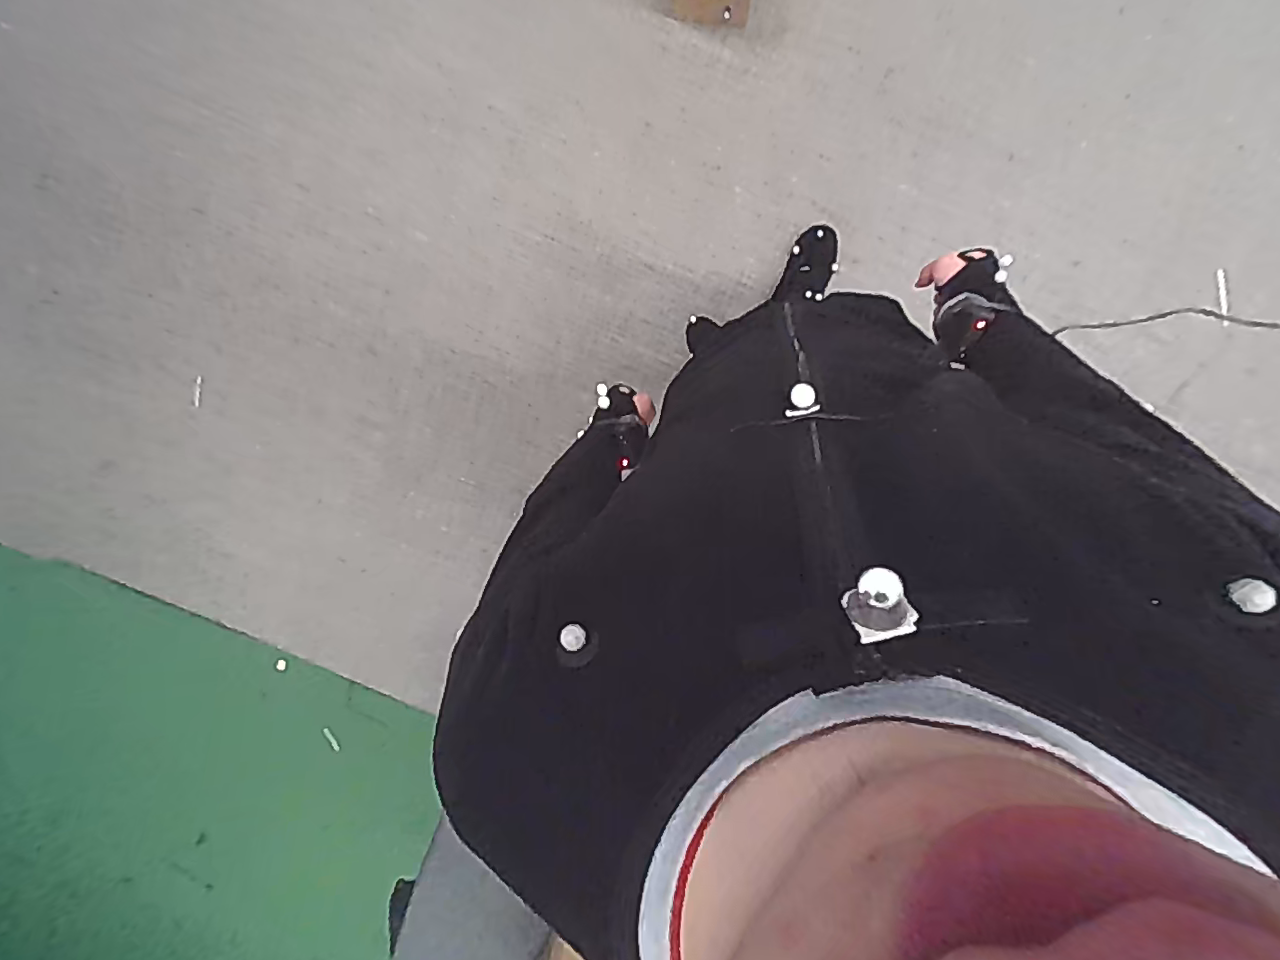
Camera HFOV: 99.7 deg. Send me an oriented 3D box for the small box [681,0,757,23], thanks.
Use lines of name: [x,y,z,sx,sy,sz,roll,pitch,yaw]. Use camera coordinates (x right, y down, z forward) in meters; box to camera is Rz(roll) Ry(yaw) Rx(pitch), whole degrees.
small box: [0.173,-1.079,1.102,0.168,0.176,0.179,11,111,3]
